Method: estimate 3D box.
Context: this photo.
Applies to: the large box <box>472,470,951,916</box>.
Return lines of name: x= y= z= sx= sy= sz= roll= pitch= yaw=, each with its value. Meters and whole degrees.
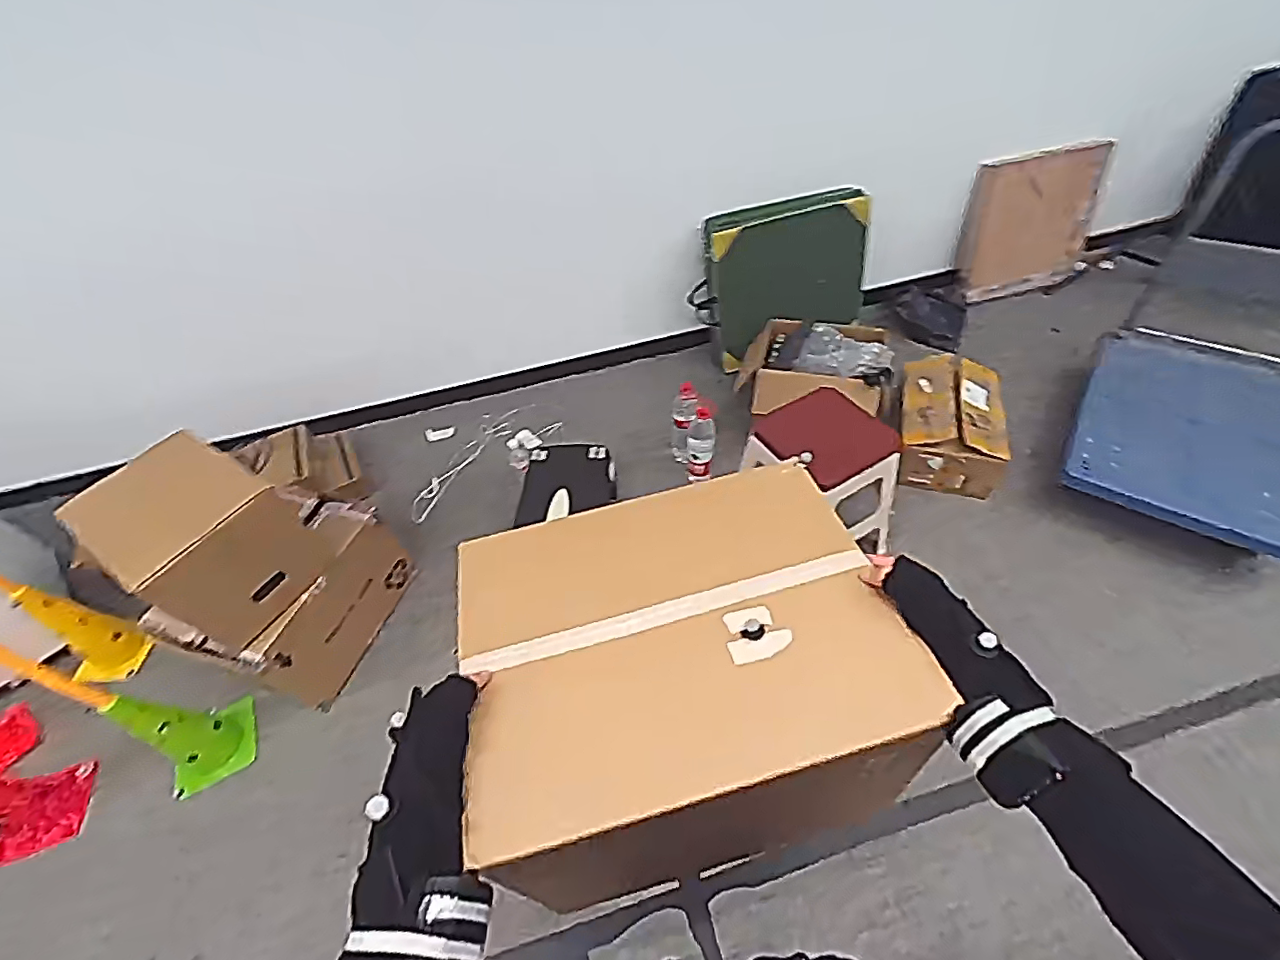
large box: x=0.051 y=0.243 z=0.637 sx=0.408 sy=0.320 sz=0.320 roll=-14 pitch=45 yaw=-5
